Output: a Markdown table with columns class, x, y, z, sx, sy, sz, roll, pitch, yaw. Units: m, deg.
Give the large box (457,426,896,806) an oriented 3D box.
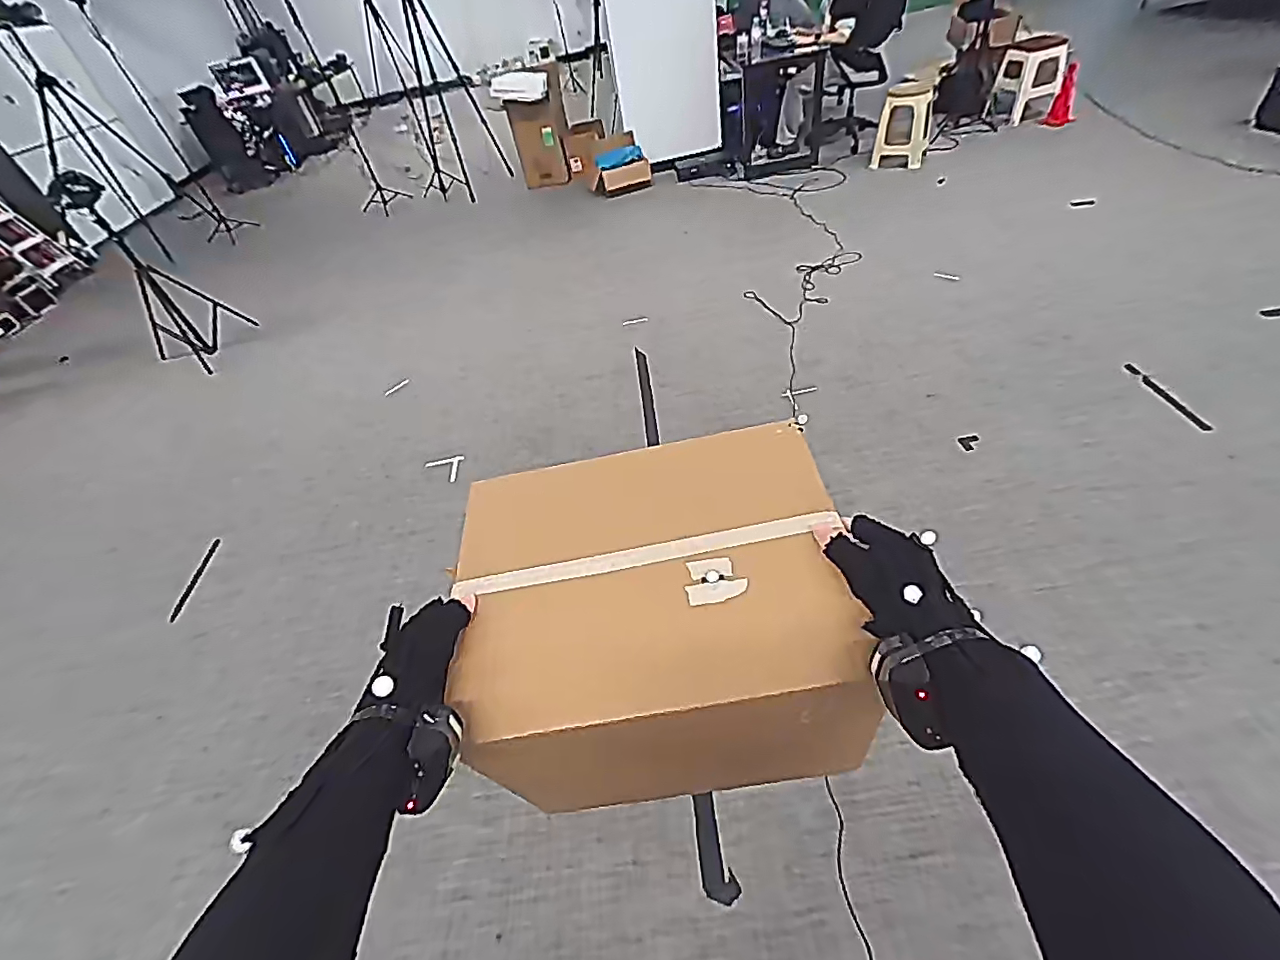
| class | x | y | z | sx | sy | sz | roll | pitch | yaw |
| --- | --- | --- | --- | --- | --- | --- | --- | --- | --- |
| large box | 0.036 | 0.179 | 0.681 | 0.408 | 0.320 | 0.320 | -11 | 49 | 3 |
